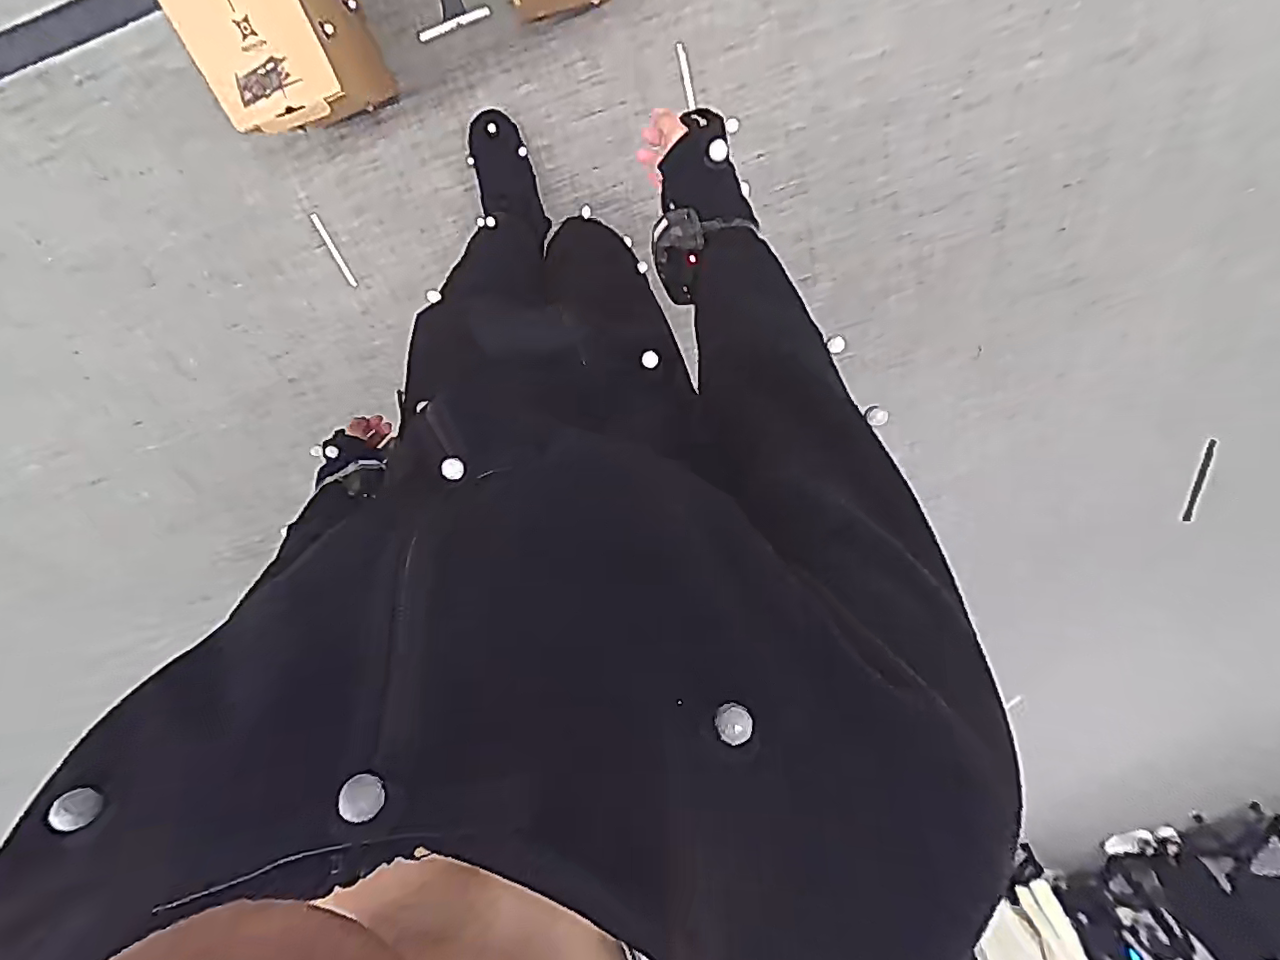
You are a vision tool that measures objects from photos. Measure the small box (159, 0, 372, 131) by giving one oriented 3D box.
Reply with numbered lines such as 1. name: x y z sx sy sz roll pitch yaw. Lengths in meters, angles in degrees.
1. small box: -0.516 -0.622 0.766 0.168 0.176 0.179 -17 123 4

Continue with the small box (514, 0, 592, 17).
1. small box: -0.136 -0.867 0.856 0.179 0.176 0.168 -15 125 1

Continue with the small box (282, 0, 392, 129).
1. small box: -0.542 -0.712 0.901 0.179 0.176 0.168 -19 124 6
